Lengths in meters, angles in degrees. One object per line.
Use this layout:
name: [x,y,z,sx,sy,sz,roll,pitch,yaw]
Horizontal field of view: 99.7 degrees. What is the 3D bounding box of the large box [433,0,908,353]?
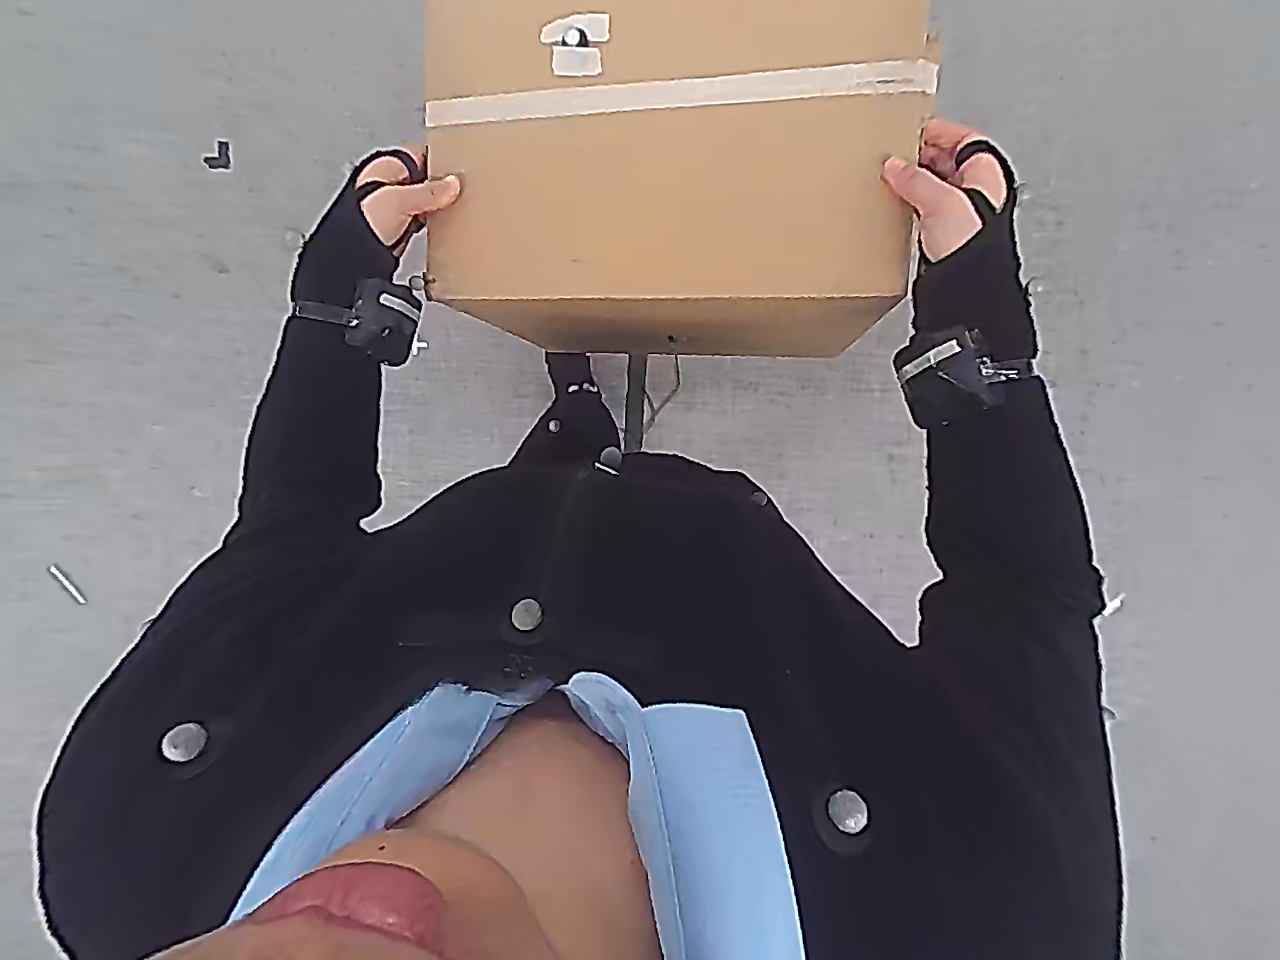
large box: [0.041,-0.321,0.596,0.408,0.320,0.320,2,93,12]
